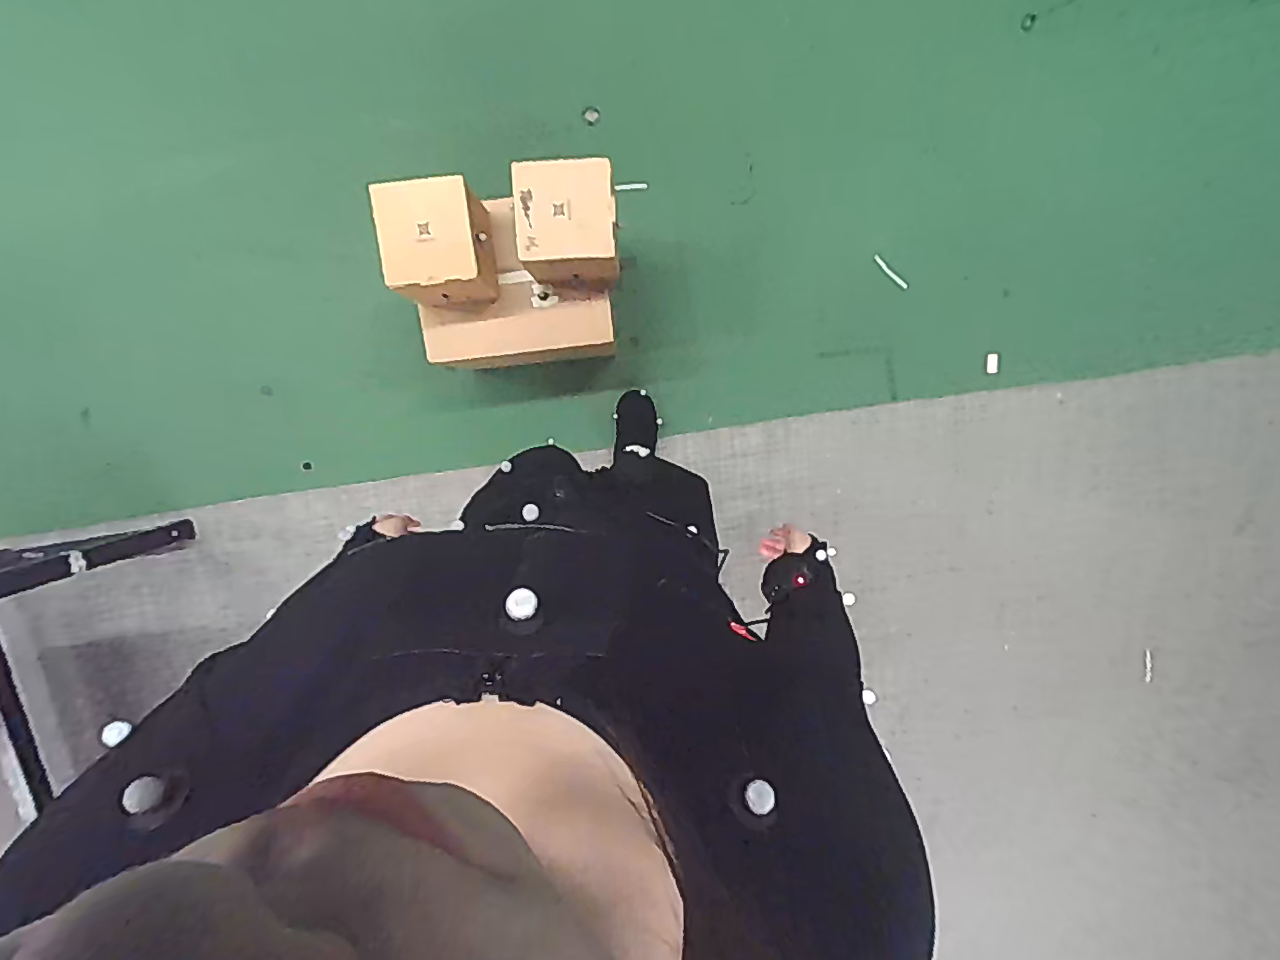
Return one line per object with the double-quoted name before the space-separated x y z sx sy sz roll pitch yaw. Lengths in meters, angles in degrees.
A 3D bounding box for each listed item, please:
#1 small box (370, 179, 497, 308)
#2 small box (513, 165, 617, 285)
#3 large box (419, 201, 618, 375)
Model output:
"small box" -0.378 -0.436 1.021 0.168 0.176 0.179 -6 98 0
"small box" -0.131 -0.470 1.017 0.179 0.176 0.168 -2 98 0
"large box" -0.270 -0.434 1.268 0.408 0.320 0.320 -7 99 0
